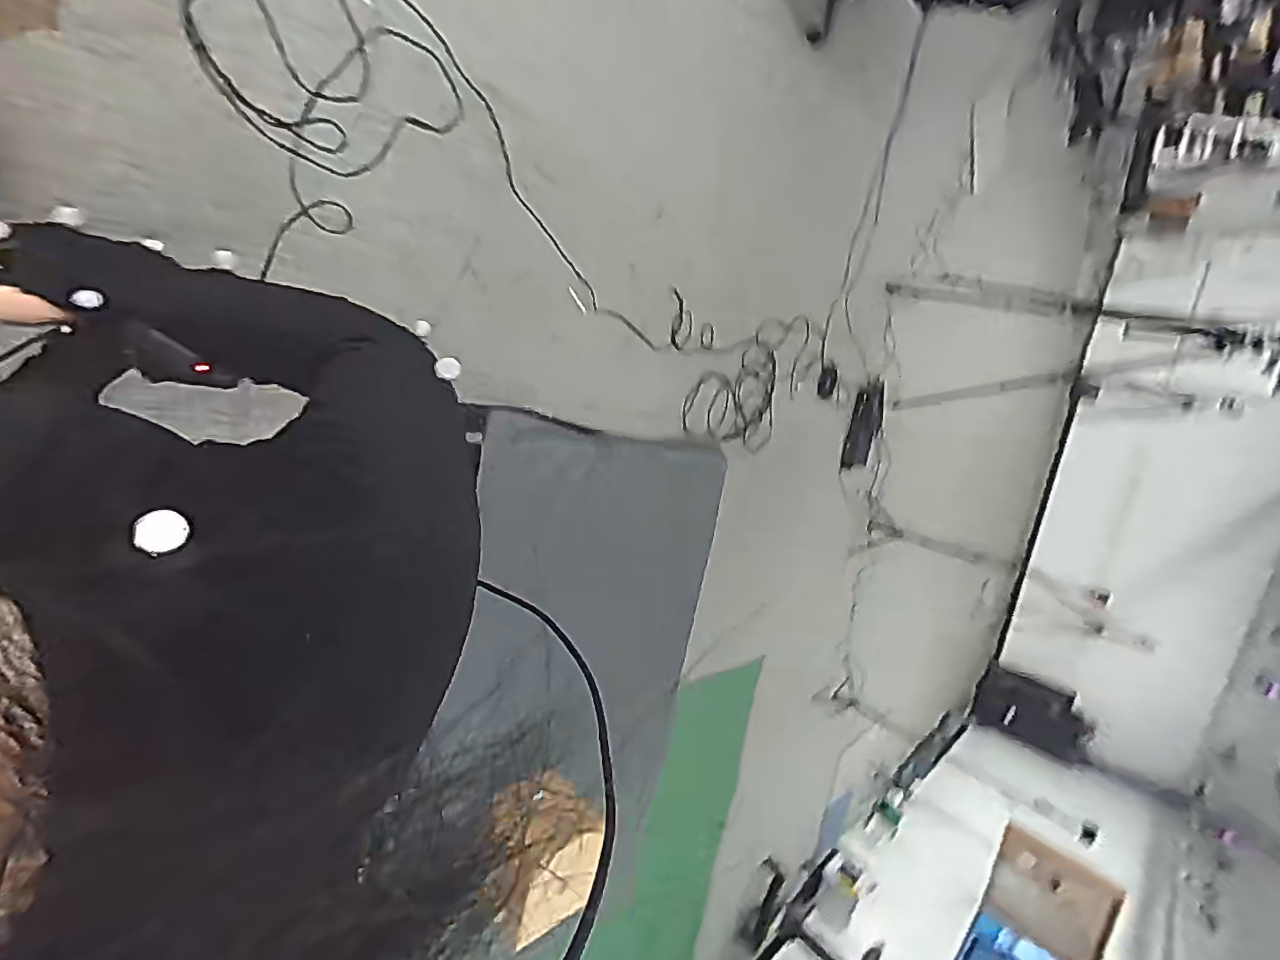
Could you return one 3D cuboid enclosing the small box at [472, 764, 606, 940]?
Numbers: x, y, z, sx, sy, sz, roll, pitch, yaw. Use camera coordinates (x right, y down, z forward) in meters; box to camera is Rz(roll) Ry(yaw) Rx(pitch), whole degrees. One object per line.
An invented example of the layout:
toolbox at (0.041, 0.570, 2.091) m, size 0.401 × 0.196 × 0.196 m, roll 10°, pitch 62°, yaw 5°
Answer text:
small box at (-0.191, 0.674, 1.005) m, size 0.168 × 0.176 × 0.179 m, roll 4°, pitch 101°, yaw -47°
